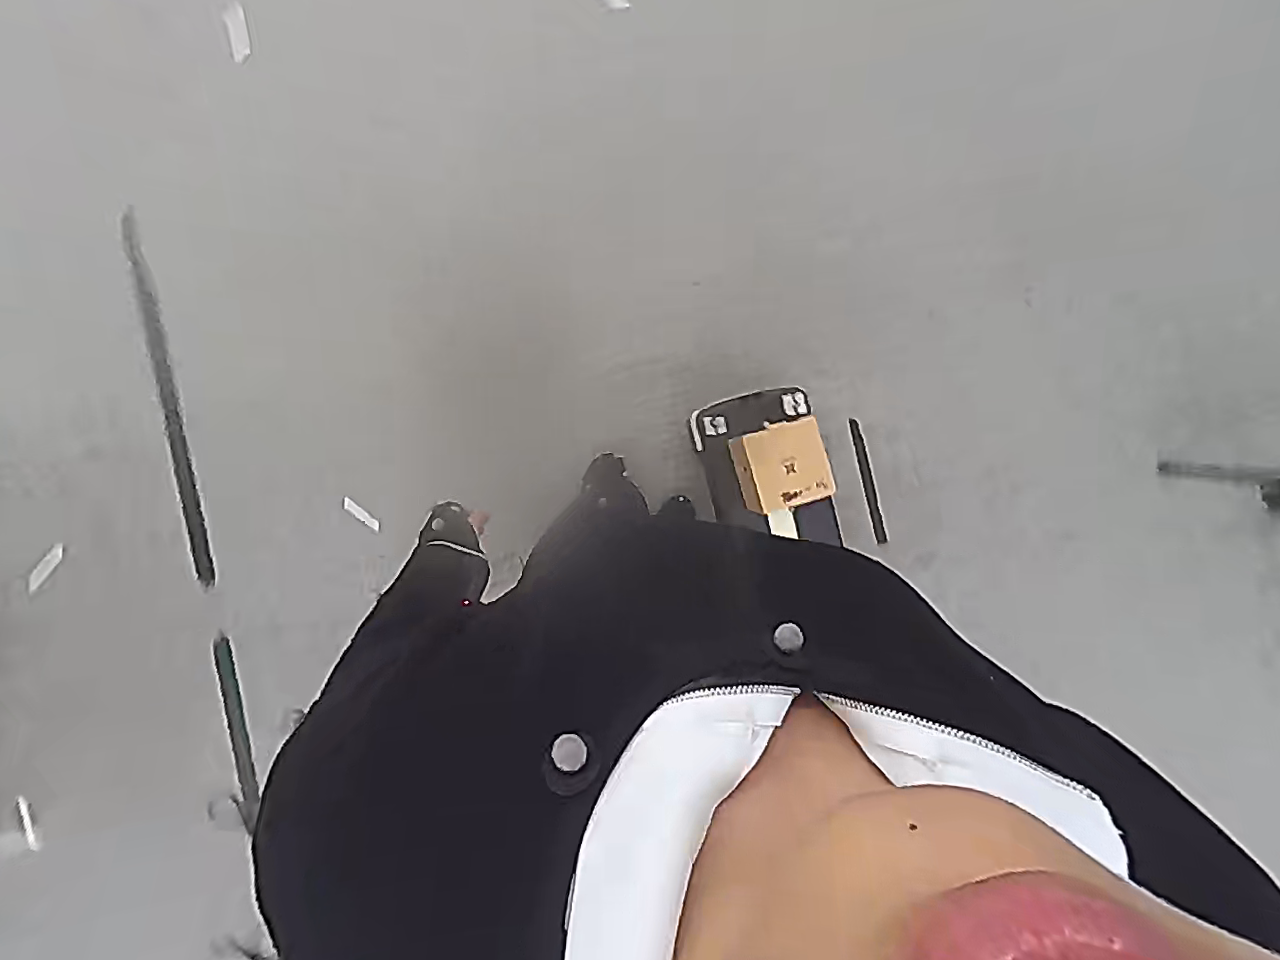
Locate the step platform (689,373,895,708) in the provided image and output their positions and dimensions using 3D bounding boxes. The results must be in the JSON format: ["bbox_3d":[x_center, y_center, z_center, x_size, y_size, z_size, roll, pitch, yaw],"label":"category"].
[{"bbox_3d":[0.320,0.123,1.202,0.286,0.204,0.684,-14,91,-1],"label":"step platform"}]

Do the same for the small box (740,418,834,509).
[{"bbox_3d":[0.315,-0.040,1.237,0.168,0.176,0.179,-16,90,-1],"label":"small box"}]
